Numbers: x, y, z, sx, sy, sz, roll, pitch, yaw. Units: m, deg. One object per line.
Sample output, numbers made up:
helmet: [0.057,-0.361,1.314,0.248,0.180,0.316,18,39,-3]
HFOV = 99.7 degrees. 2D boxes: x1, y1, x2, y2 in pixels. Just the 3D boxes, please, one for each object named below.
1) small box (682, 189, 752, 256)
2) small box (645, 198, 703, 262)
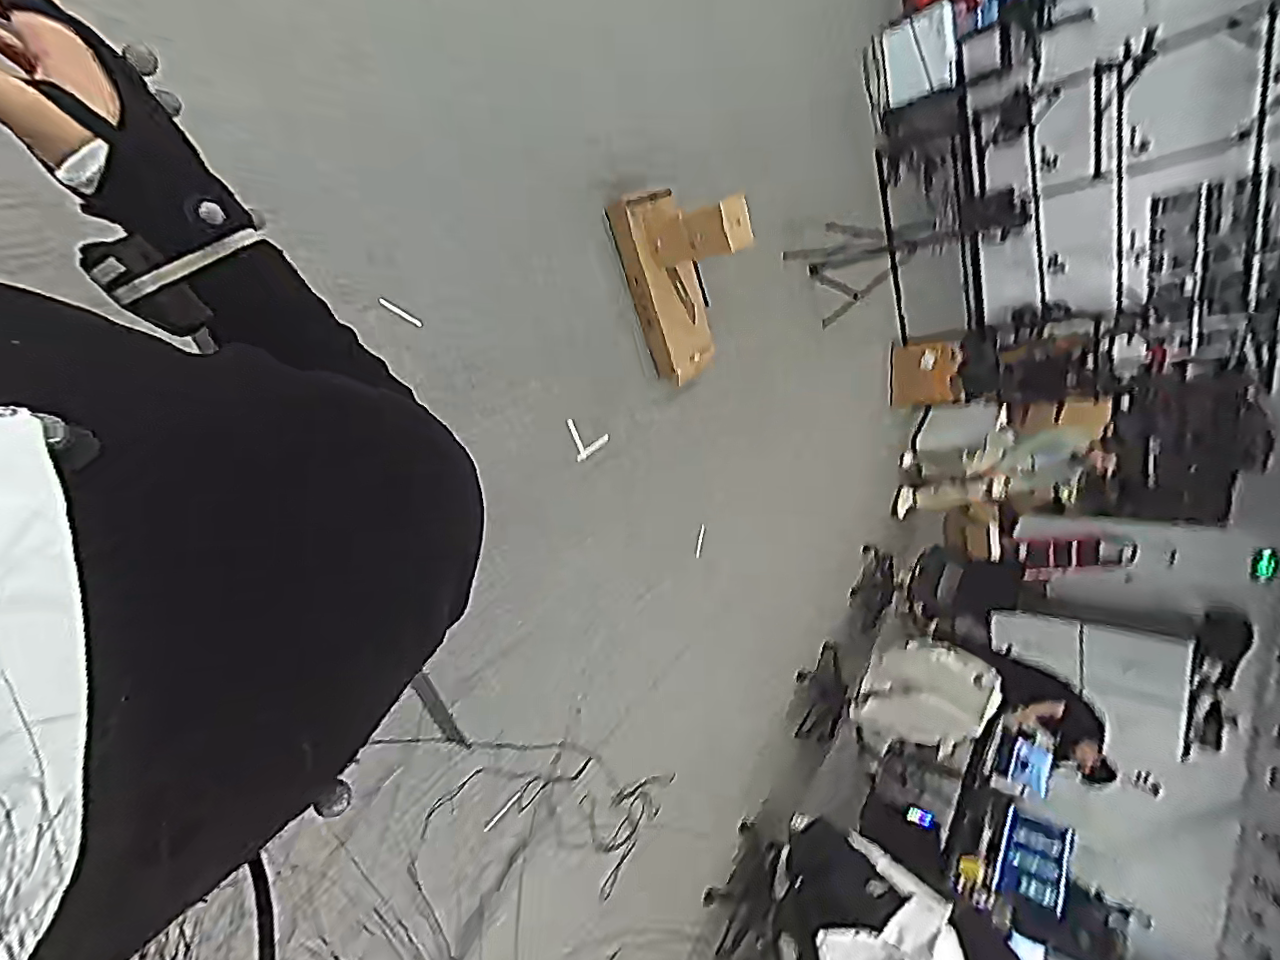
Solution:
small box: [0.277,-0.930,1.955,0.179,0.176,0.168,-39,119,-38]
small box: [0.147,-0.950,2.056,0.179,0.176,0.168,-40,120,-37]
